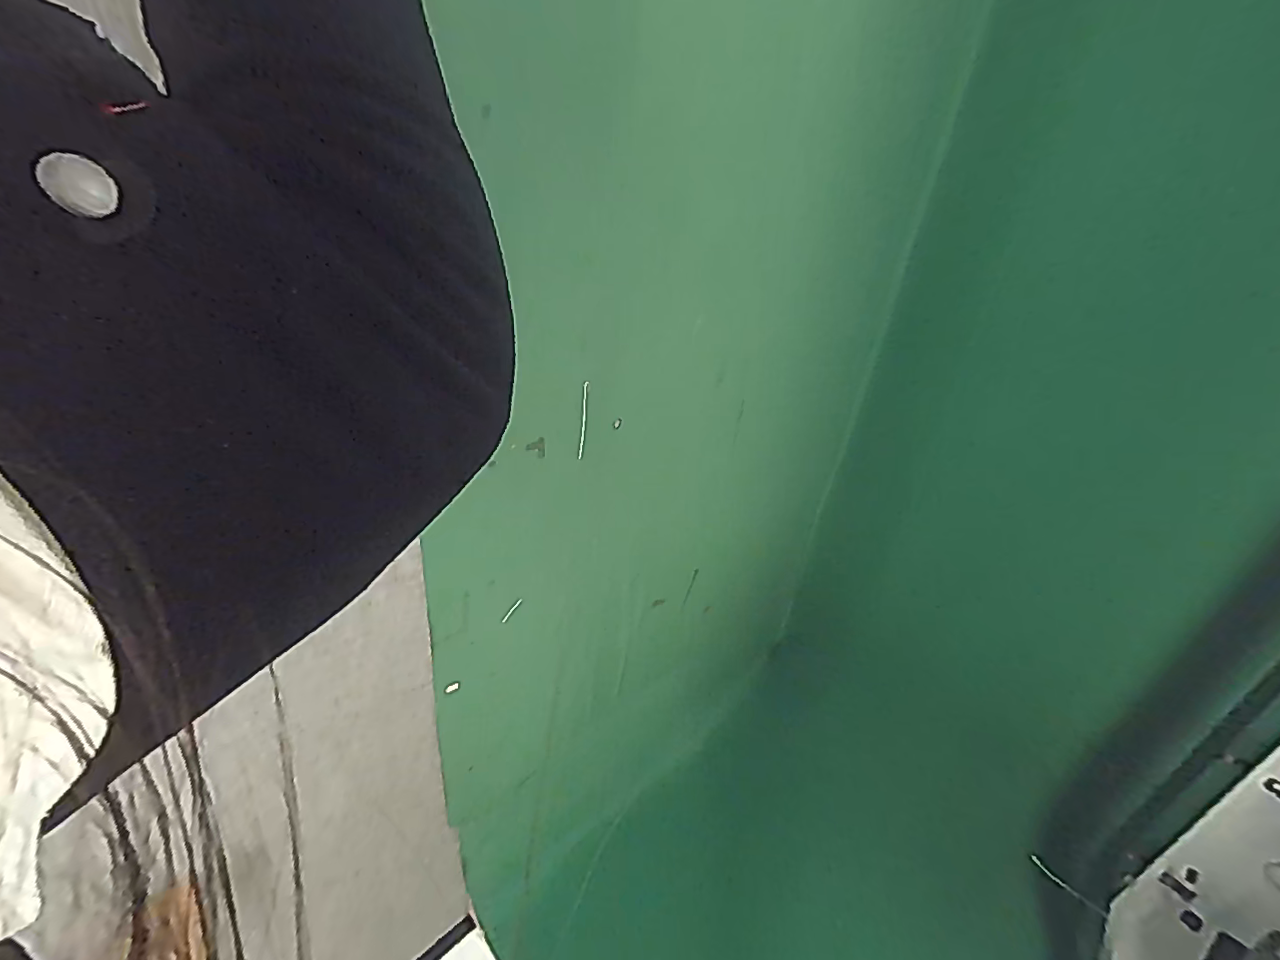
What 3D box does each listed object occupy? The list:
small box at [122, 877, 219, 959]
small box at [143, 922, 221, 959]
[{"bbox_3d":[-1.397,1.348,1.606,0.179,0.176,0.168,-23,131,-42],"label":"small box"},{"bbox_3d":[-1.282,1.406,1.506,0.179,0.176,0.168,-20,128,-41],"label":"small box"}]
